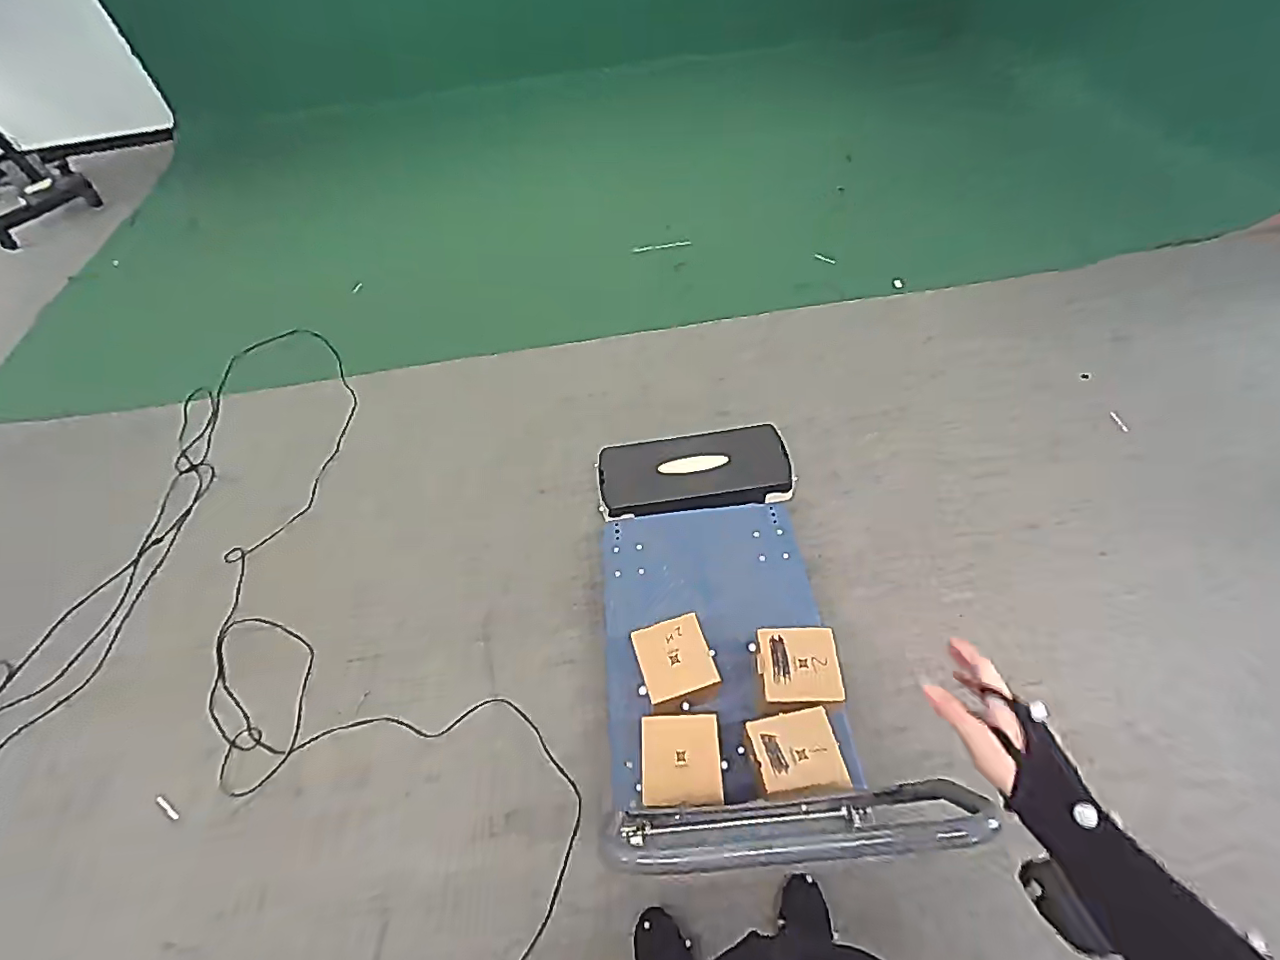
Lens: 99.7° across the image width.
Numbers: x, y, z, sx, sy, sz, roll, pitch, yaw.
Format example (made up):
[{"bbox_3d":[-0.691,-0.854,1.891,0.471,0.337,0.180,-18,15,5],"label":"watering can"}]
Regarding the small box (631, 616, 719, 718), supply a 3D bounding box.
[{"bbox_3d":[0.084,0.463,1.316,0.168,0.176,0.179,-15,55,-7],"label":"small box"}]
